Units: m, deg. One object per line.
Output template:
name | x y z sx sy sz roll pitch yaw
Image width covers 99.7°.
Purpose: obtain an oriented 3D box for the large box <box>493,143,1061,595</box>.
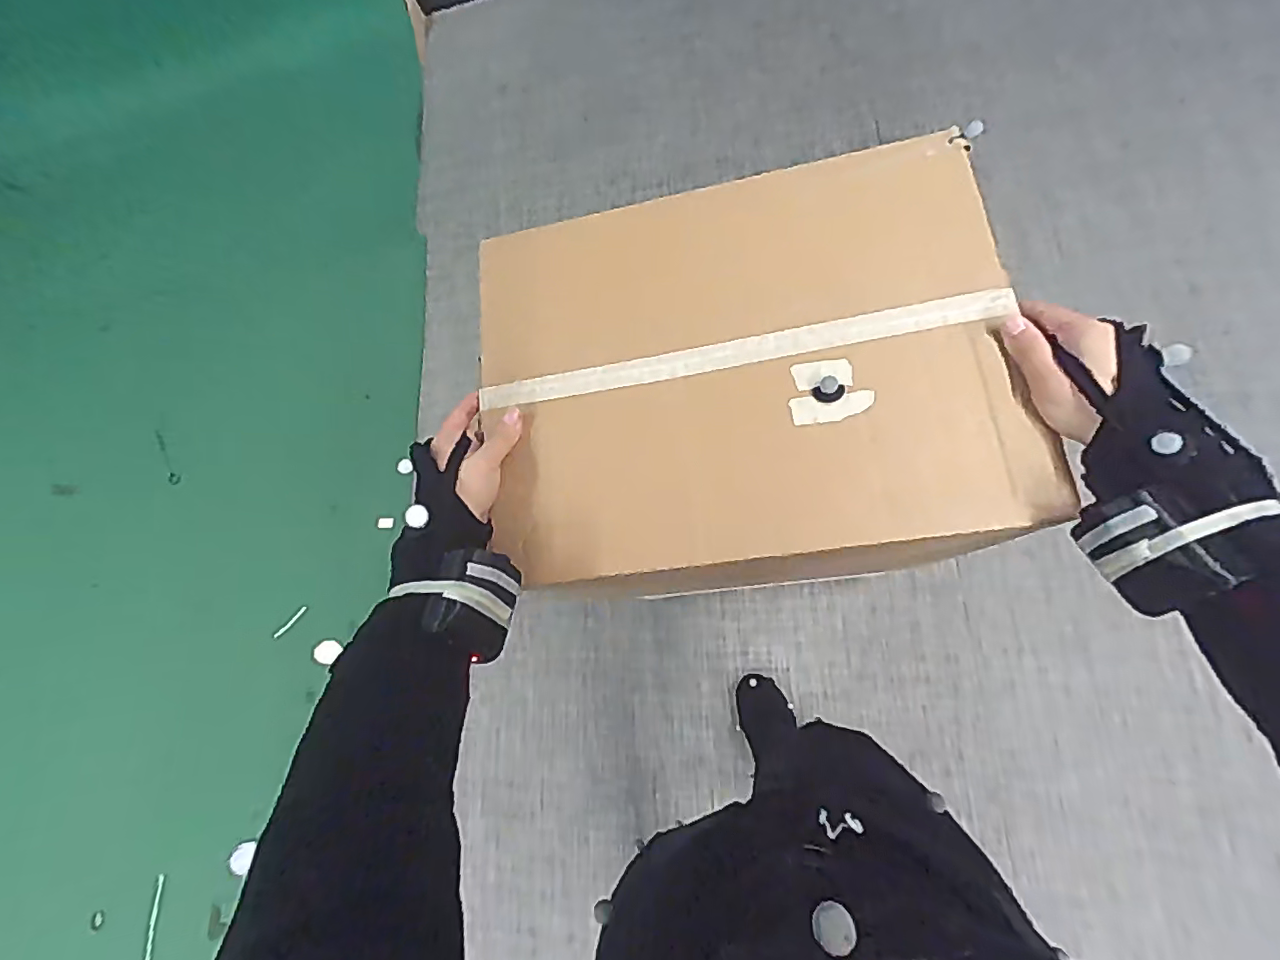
large box | 0.099 -0.063 0.570 0.408 0.320 0.320 -8 76 9
